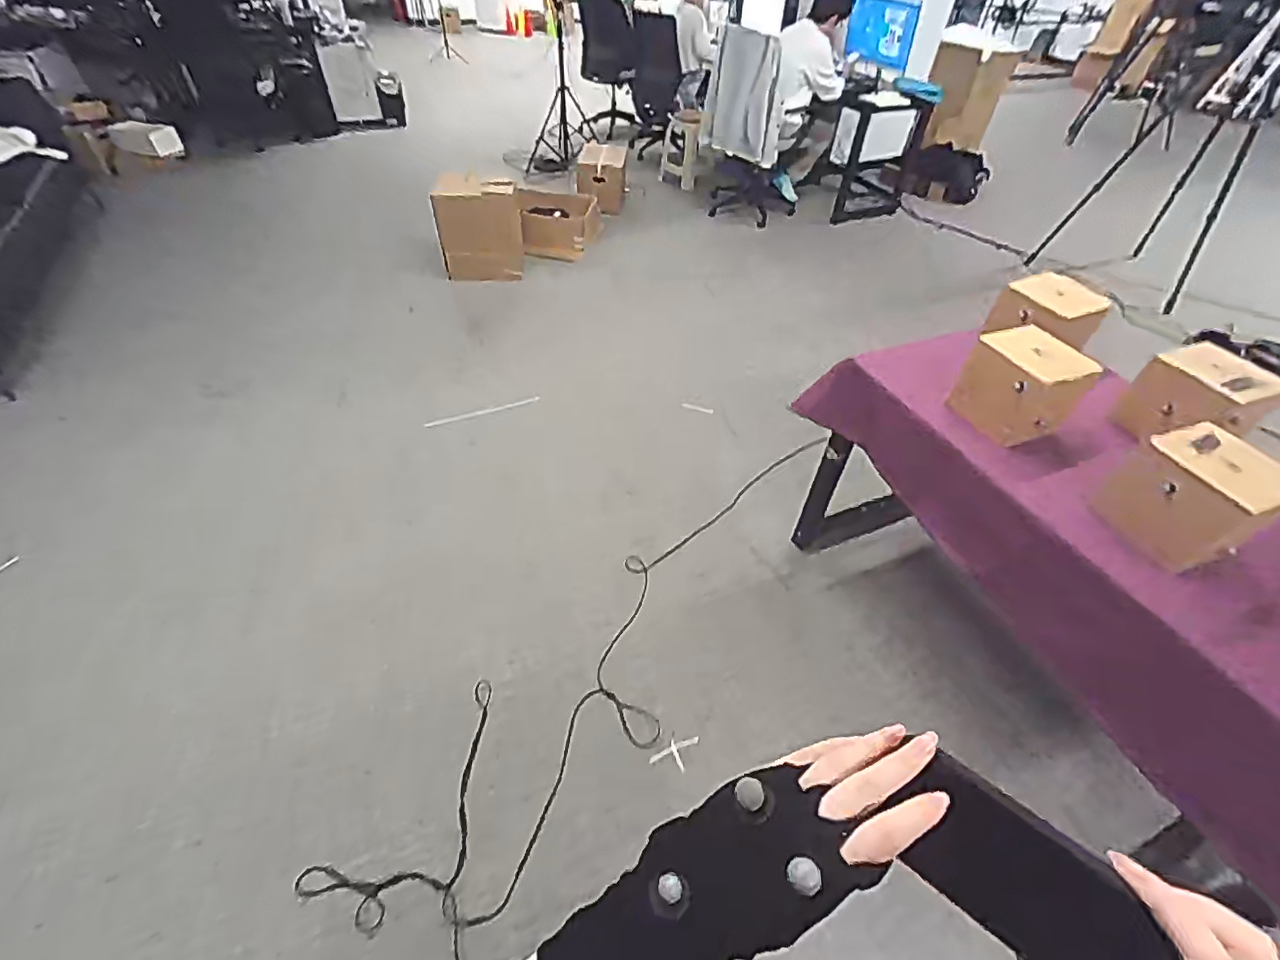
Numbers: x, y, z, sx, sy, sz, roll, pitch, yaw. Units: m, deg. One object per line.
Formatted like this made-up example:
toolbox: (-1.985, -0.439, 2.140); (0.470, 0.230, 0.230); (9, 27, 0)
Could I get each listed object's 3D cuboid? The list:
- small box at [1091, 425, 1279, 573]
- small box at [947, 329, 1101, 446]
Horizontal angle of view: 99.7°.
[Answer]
small box: (0.965, 0.033, 0.951); (0.168, 0.176, 0.179); (-13, 49, -15)
small box: (0.813, -0.200, 1.168); (0.168, 0.176, 0.179); (-14, 50, -17)
